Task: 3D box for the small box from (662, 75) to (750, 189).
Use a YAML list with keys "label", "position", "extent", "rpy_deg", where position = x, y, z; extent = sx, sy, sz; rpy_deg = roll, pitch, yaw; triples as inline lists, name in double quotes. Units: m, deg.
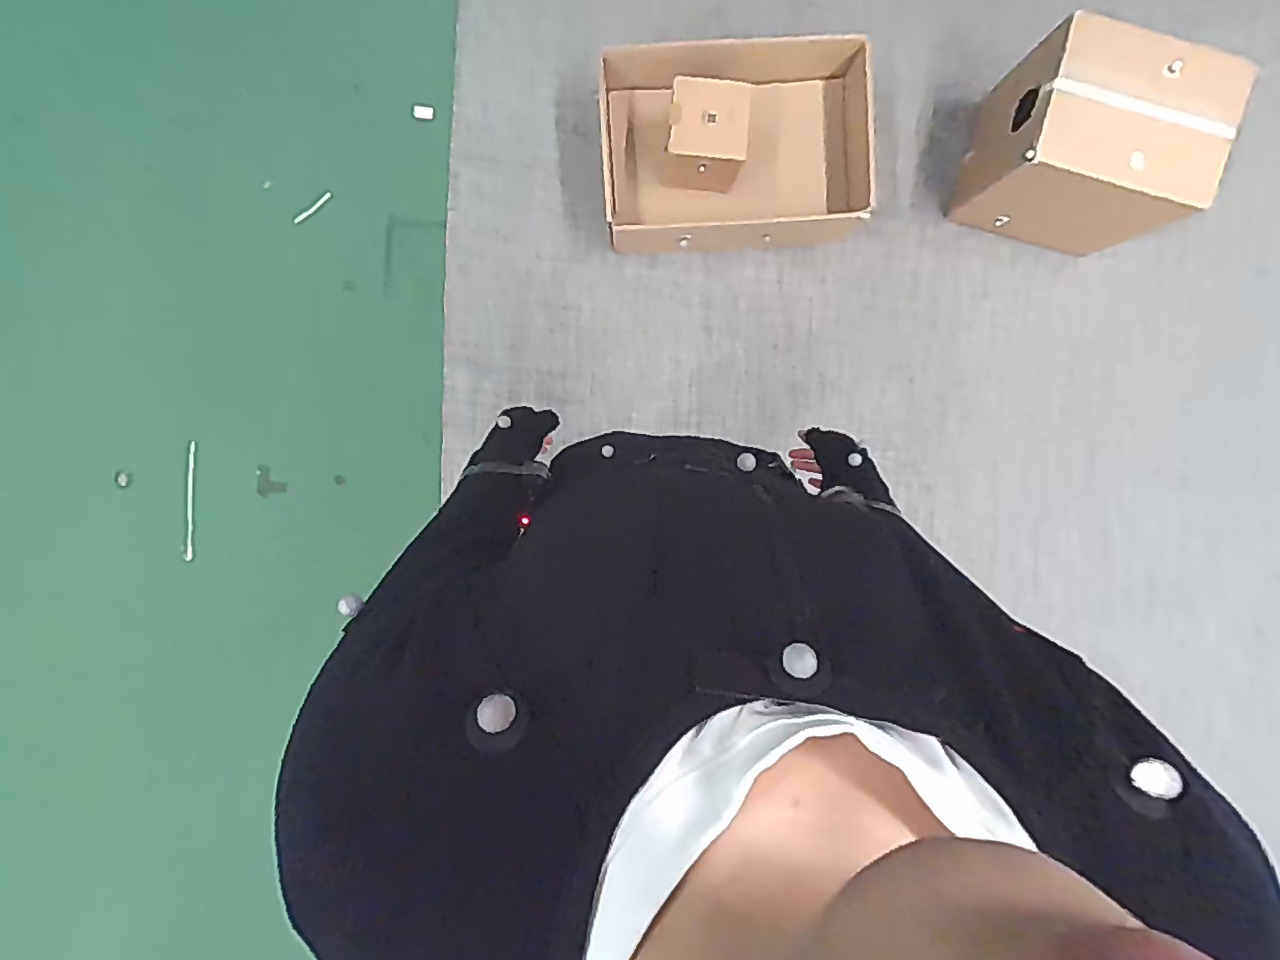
- label: "small box"
  position: [0.148, -0.812, 1.279]
  extent: [0.179, 0.176, 0.168]
  rpy_deg: [3, 95, -4]
